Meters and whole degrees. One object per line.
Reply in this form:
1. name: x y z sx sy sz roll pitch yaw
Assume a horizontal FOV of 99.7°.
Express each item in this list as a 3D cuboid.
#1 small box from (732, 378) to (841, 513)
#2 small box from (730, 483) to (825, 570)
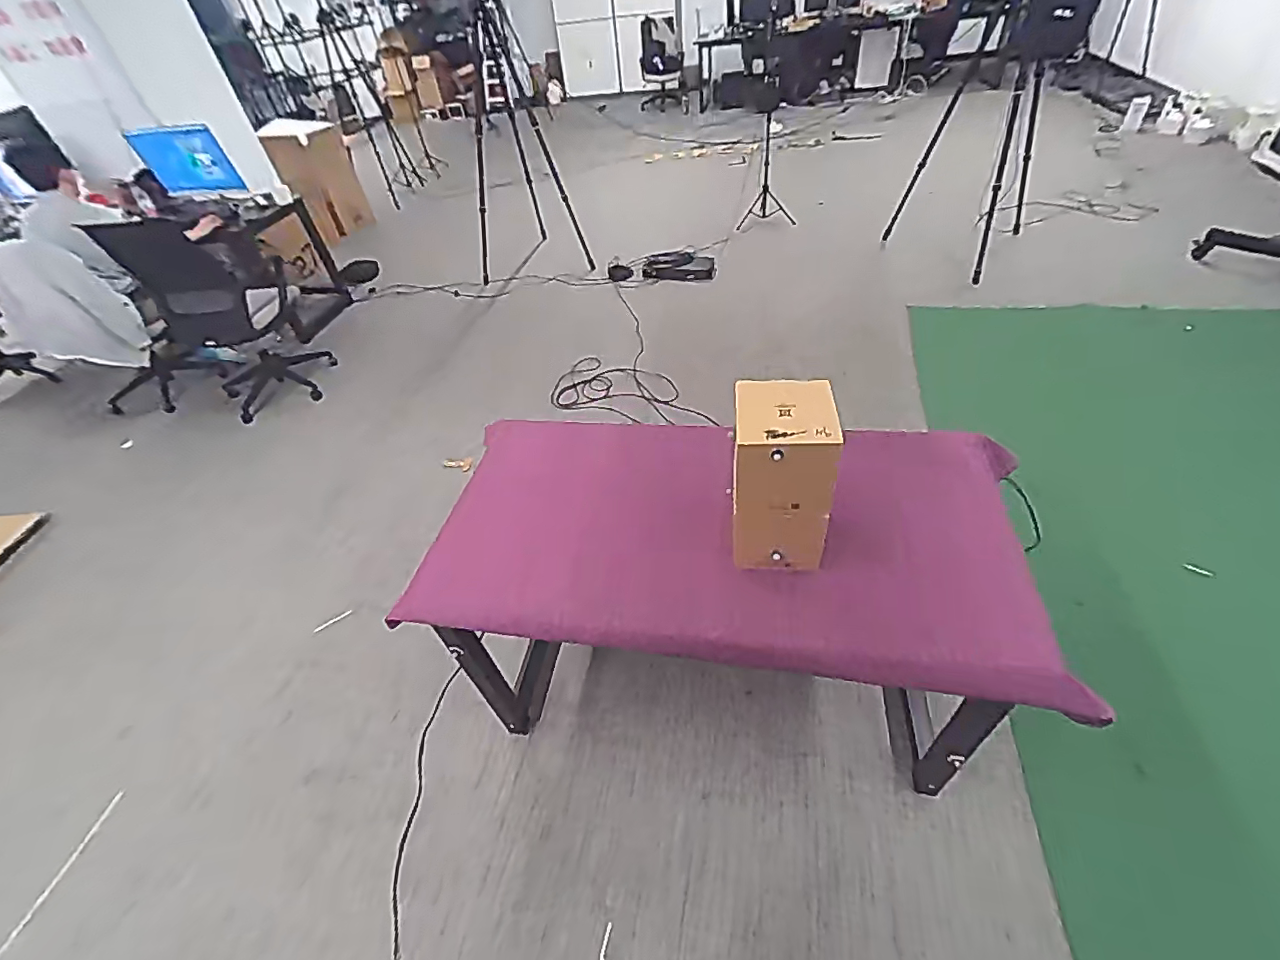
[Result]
1. small box: 0.248 -0.062 0.958 0.168 0.176 0.179 0 44 9
2. small box: 0.265 0.055 1.072 0.168 0.176 0.179 0 45 10
